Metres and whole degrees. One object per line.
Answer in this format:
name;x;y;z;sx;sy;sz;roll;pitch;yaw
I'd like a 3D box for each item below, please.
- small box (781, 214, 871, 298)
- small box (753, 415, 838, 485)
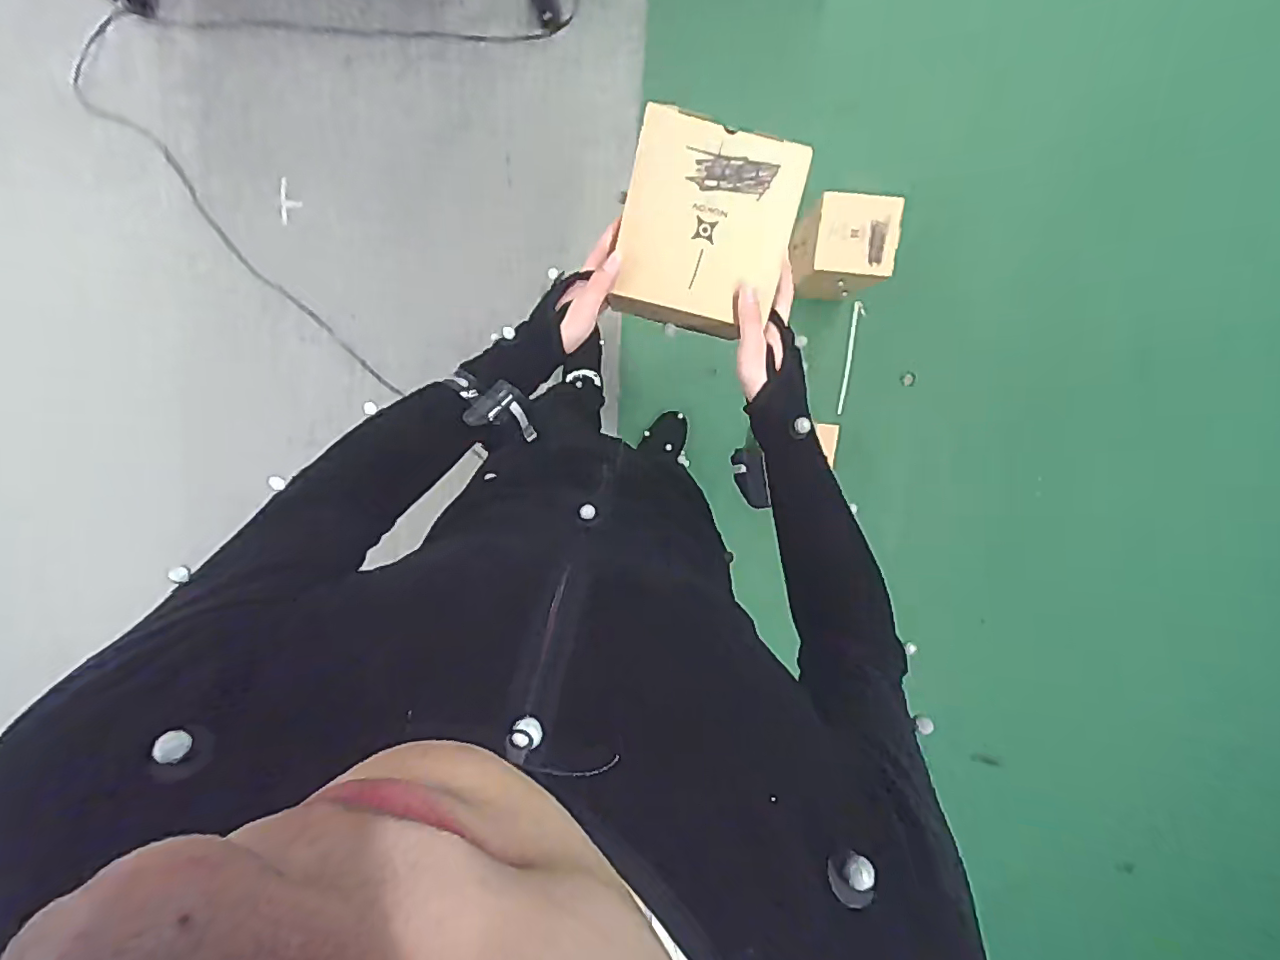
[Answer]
small box;0.481;-0.582;1.426;0.179;0.176;0.168;5;99;0
small box;0.428;-0.090;1.511;0.179;0.176;0.168;7;100;1
